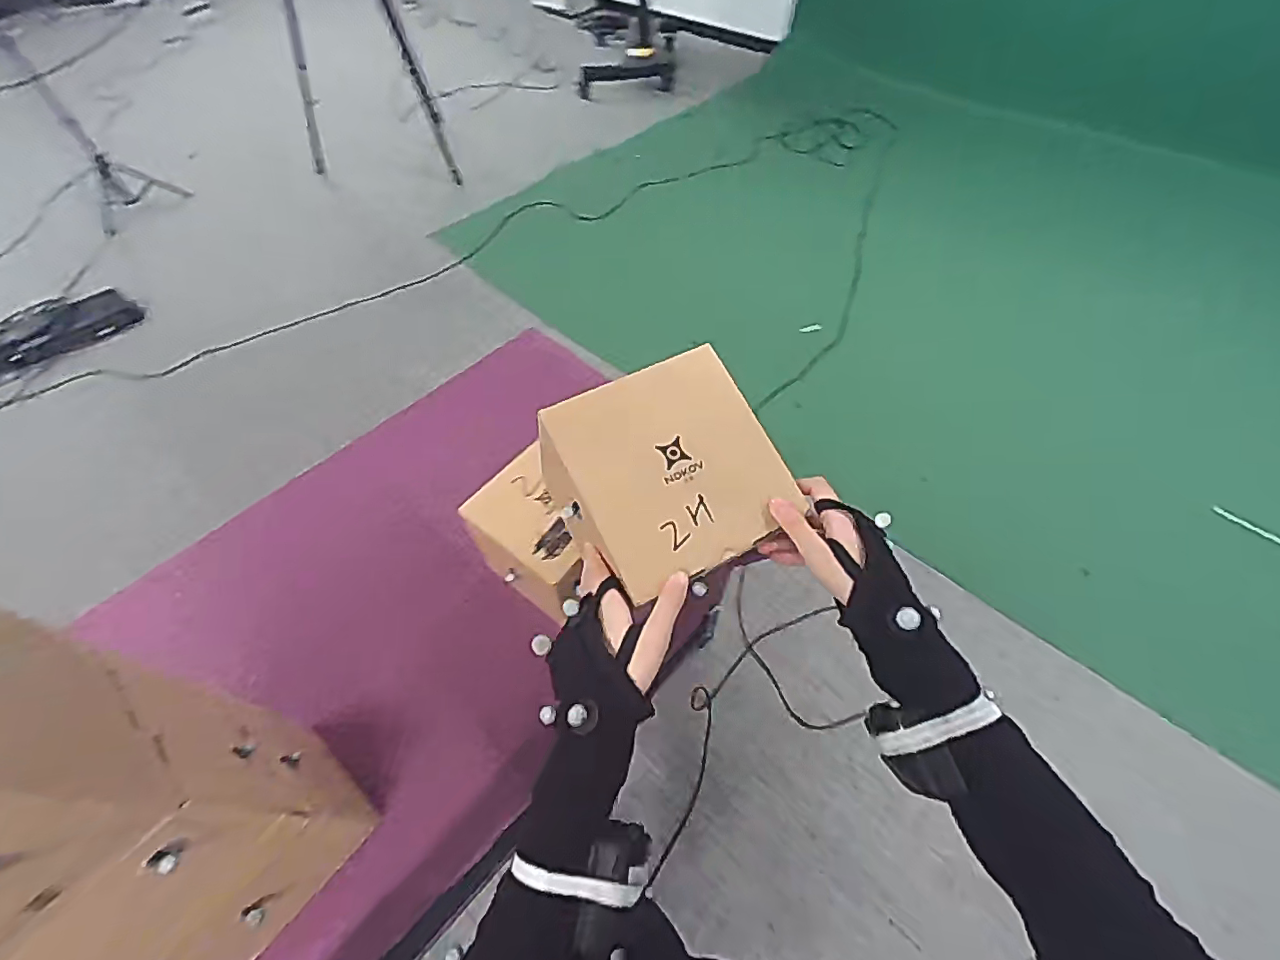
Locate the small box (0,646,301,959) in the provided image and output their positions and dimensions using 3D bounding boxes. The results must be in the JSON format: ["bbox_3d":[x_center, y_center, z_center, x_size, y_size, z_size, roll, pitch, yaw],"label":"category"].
[{"bbox_3d":[-0.424,0.274,0.429,0.168,0.176,0.179,34,61,23],"label":"small box"}]

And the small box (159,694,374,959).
[{"bbox_3d":[-0.423,0.365,0.564,0.168,0.176,0.179,34,63,23],"label":"small box"}]

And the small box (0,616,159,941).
[{"bbox_3d":[-0.429,0.177,0.299,0.179,0.176,0.168,36,61,25],"label":"small box"}]
